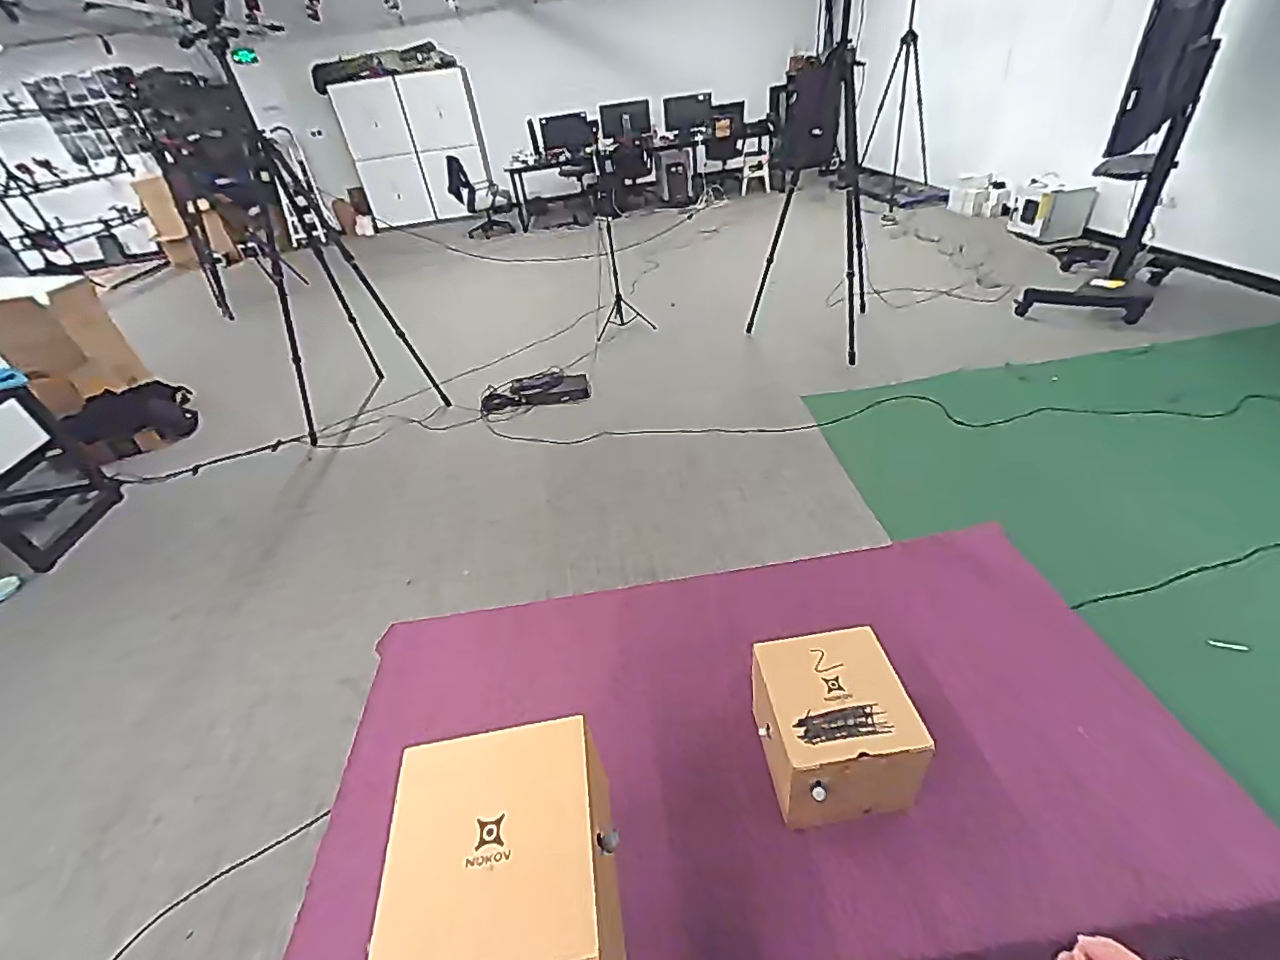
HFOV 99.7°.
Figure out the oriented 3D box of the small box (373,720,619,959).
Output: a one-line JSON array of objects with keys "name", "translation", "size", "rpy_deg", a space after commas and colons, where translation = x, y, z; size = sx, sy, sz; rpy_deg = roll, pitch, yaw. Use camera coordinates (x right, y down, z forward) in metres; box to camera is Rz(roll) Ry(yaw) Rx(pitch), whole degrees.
[{"name": "small box", "translation": [-0.115, 0.355, 0.497], "size": [0.168, 0.176, 0.179], "rpy_deg": [-10, 42, -3]}]
